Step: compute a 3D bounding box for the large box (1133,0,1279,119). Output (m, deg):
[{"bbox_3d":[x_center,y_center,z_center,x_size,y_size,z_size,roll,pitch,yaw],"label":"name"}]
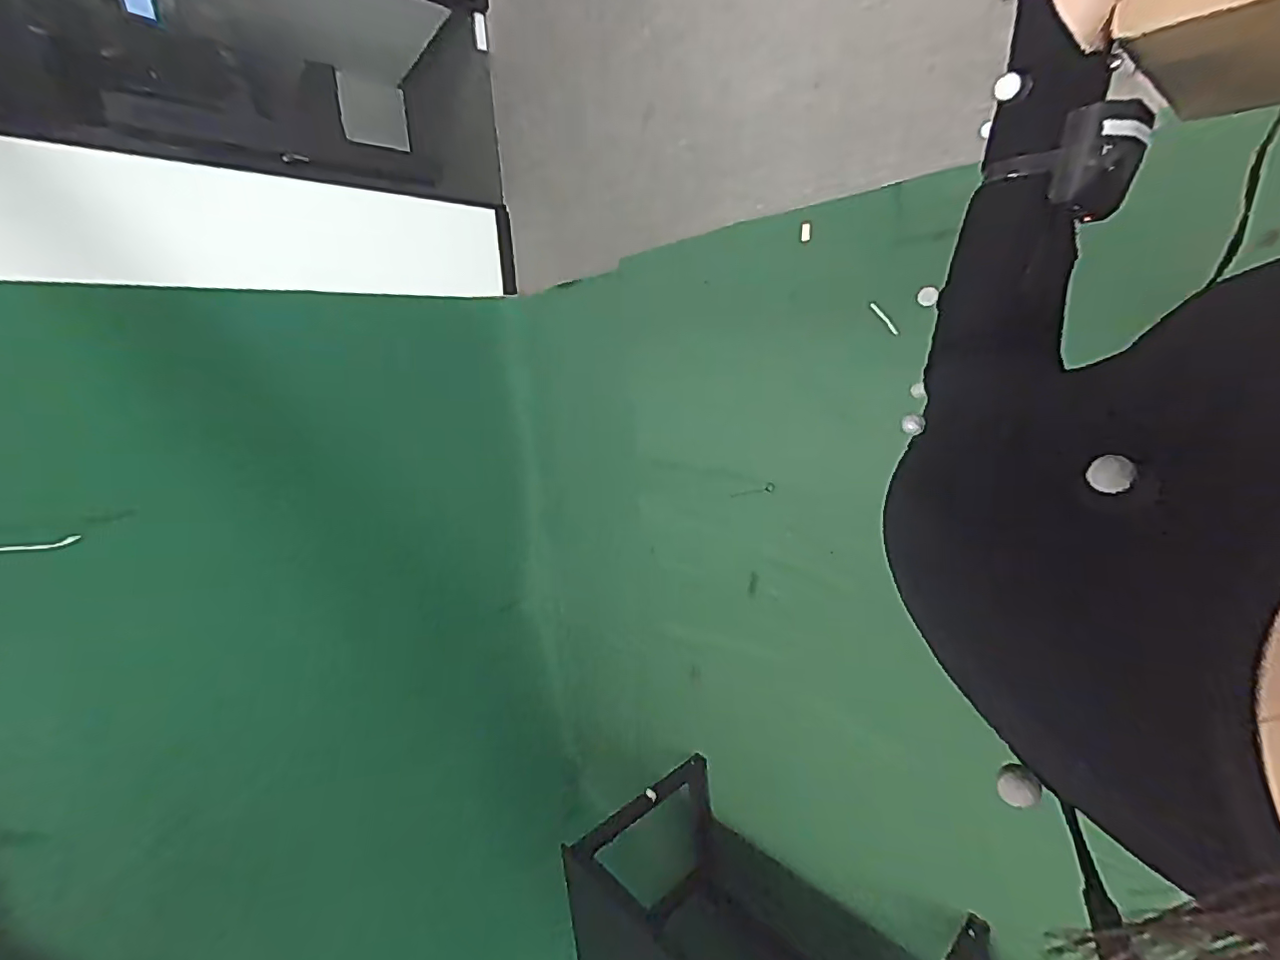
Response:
[{"bbox_3d":[0.548,-0.428,0.255,0.408,0.320,0.320,17,116,46],"label":"large box"}]
